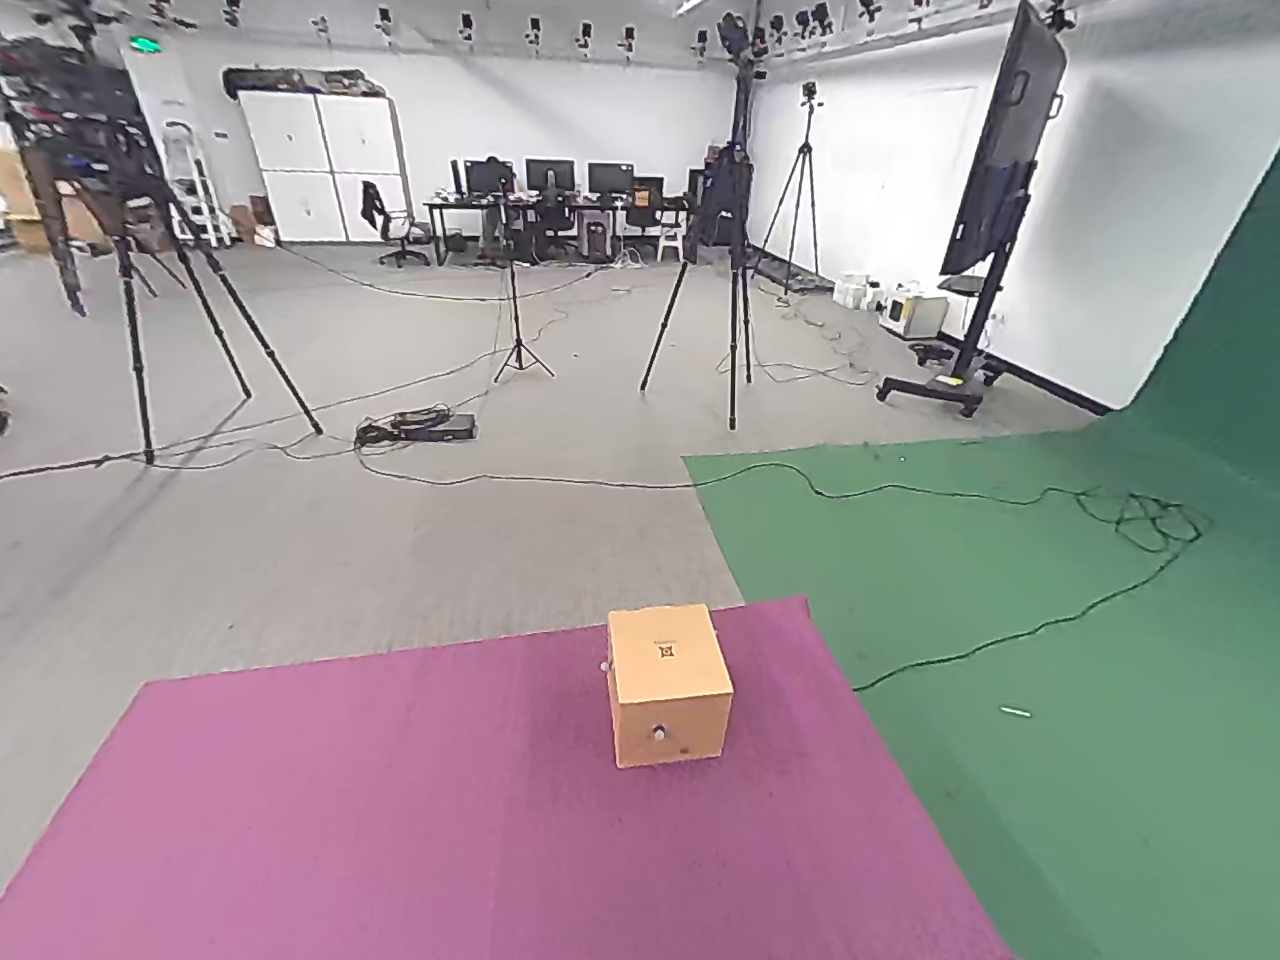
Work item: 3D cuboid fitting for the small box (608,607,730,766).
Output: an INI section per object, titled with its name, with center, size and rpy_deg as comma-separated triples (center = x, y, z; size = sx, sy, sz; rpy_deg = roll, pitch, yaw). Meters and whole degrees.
[small box]
center = 0.039, 0.331, 0.864
size = 0.168, 0.176, 0.179
rpy_deg = -3, 32, -7
